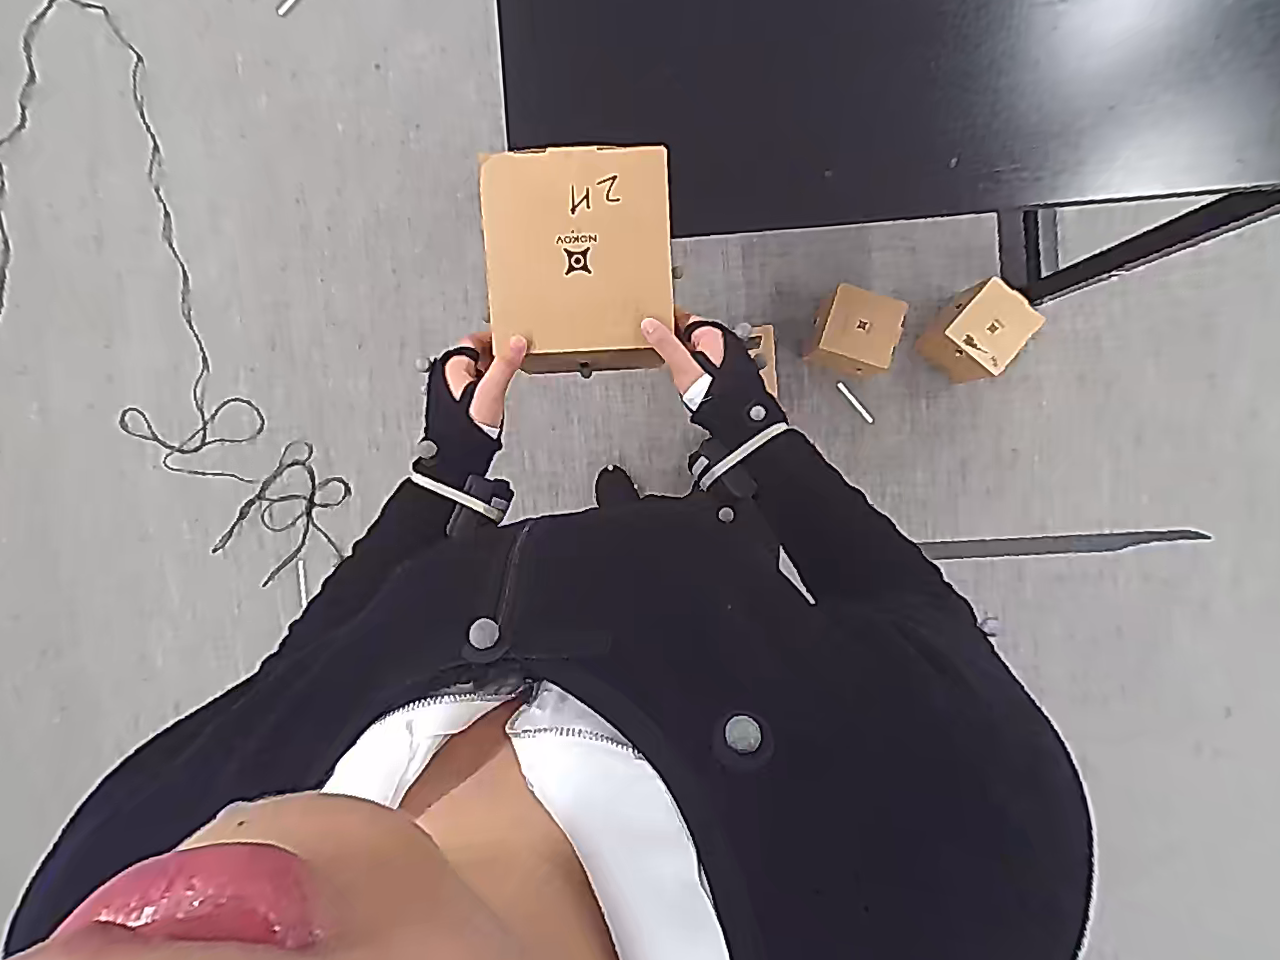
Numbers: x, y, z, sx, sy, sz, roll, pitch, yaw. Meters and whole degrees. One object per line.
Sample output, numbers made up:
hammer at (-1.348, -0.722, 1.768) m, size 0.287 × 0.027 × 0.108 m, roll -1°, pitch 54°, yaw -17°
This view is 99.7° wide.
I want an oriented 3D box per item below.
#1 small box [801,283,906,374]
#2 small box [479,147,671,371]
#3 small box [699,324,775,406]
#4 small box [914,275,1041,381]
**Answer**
small box at (0.532, -0.375, 1.373) m, size 0.179 × 0.176 × 0.168 m, roll 17°, pitch 93°, yaw 2°
small box at (-0.057, -0.208, 0.557) m, size 0.168 × 0.176 × 0.179 m, roll -3°, pitch 95°, yaw -1°
small box at (0.244, -0.289, 1.388) m, size 0.168 × 0.176 × 0.179 m, roll -5°, pitch 95°, yaw 3°
small box at (0.835, -0.373, 1.359) m, size 0.168 × 0.176 × 0.179 m, roll 40°, pitch 94°, yaw 0°
